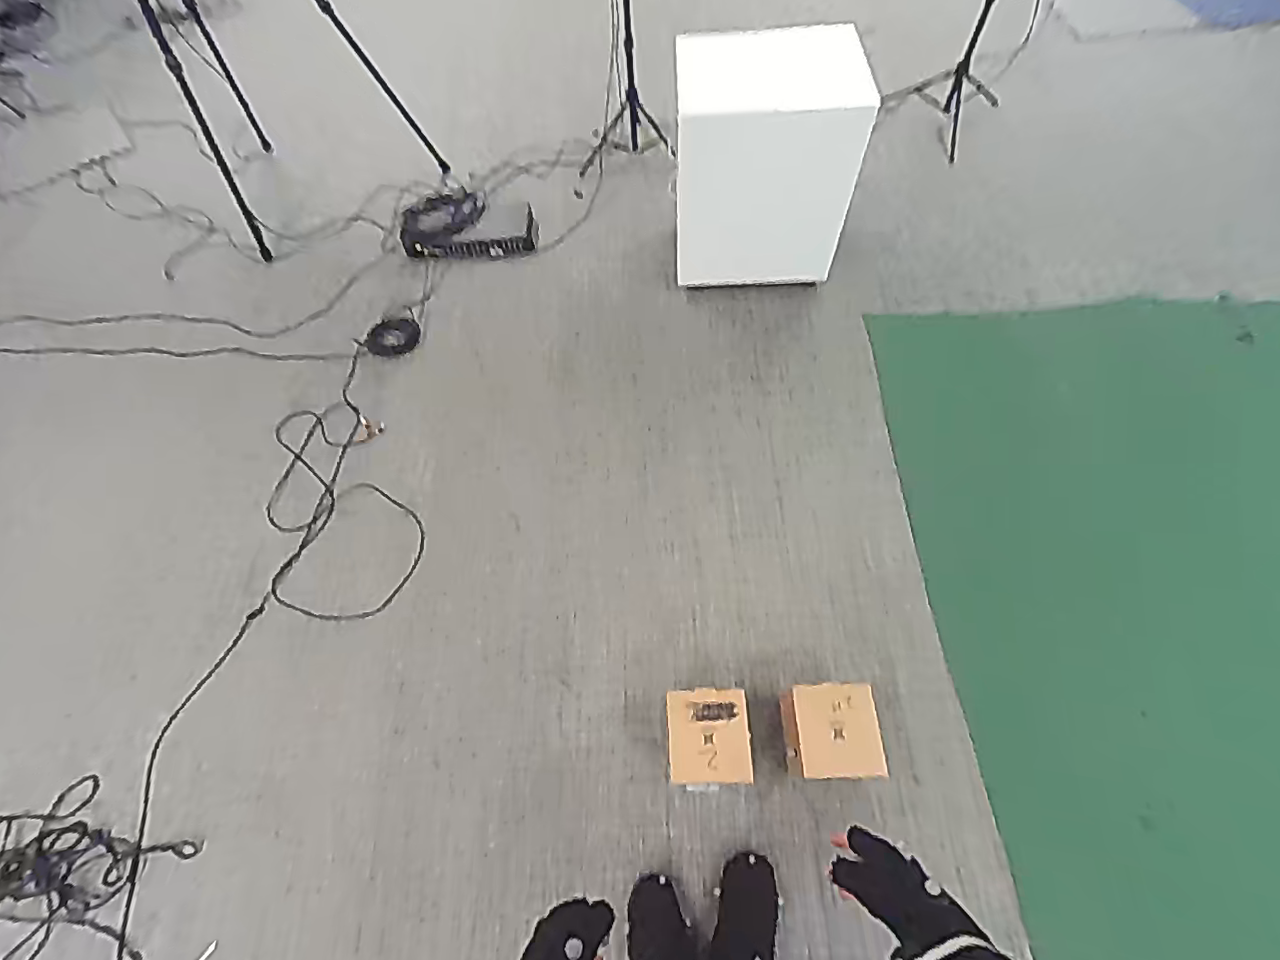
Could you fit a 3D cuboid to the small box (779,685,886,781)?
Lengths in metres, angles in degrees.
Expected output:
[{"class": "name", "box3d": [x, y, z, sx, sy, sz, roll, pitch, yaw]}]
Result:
[{"class": "small box", "box3d": [0.403, 0.544, 1.163, 0.168, 0.176, 0.179, -2, 61, 2]}]
